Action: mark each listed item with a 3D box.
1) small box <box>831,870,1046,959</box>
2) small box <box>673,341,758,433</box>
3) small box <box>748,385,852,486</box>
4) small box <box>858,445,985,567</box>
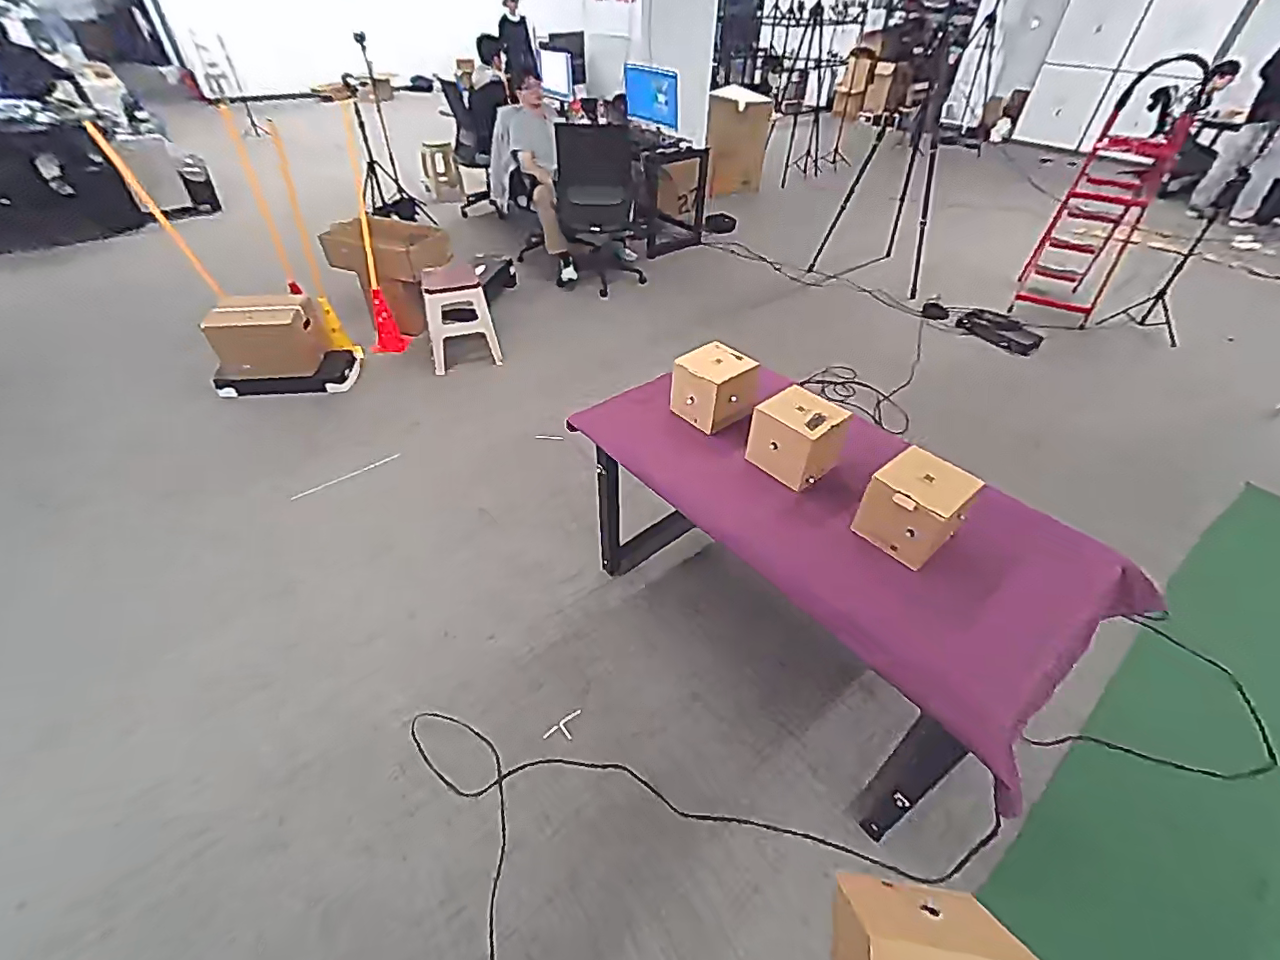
[{"bbox_3d":[0.301,0.547,0.568,0.168,0.176,0.179,4,74,9],"label":"small box"},{"bbox_3d":[0.208,-0.260,1.526,0.179,0.176,0.168,-31,52,-29],"label":"small box"},{"bbox_3d":[0.396,-0.108,1.364,0.168,0.176,0.179,-30,50,-30],"label":"small box"},{"bbox_3d":[0.606,0.058,1.188,0.179,0.176,0.168,-29,51,-29],"label":"small box"}]
